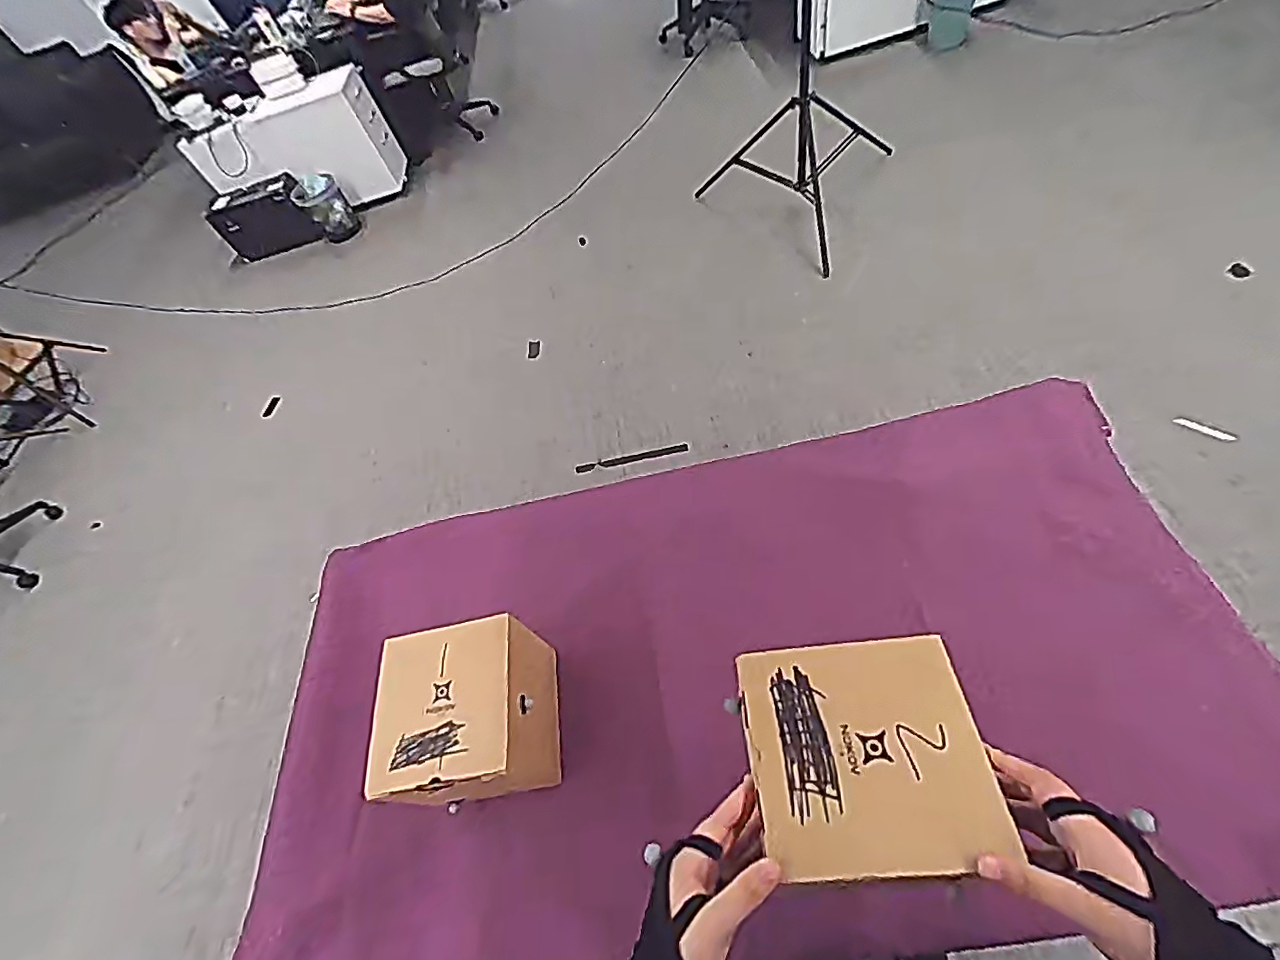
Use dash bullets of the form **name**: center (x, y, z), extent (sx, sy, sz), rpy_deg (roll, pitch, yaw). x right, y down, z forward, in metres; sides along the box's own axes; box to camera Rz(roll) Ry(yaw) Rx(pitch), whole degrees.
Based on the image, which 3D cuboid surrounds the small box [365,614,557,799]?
- **small box**: center (-0.209, 0.292, 0.681), extent (0.168, 0.176, 0.179), rpy_deg (-13, 55, 6)
